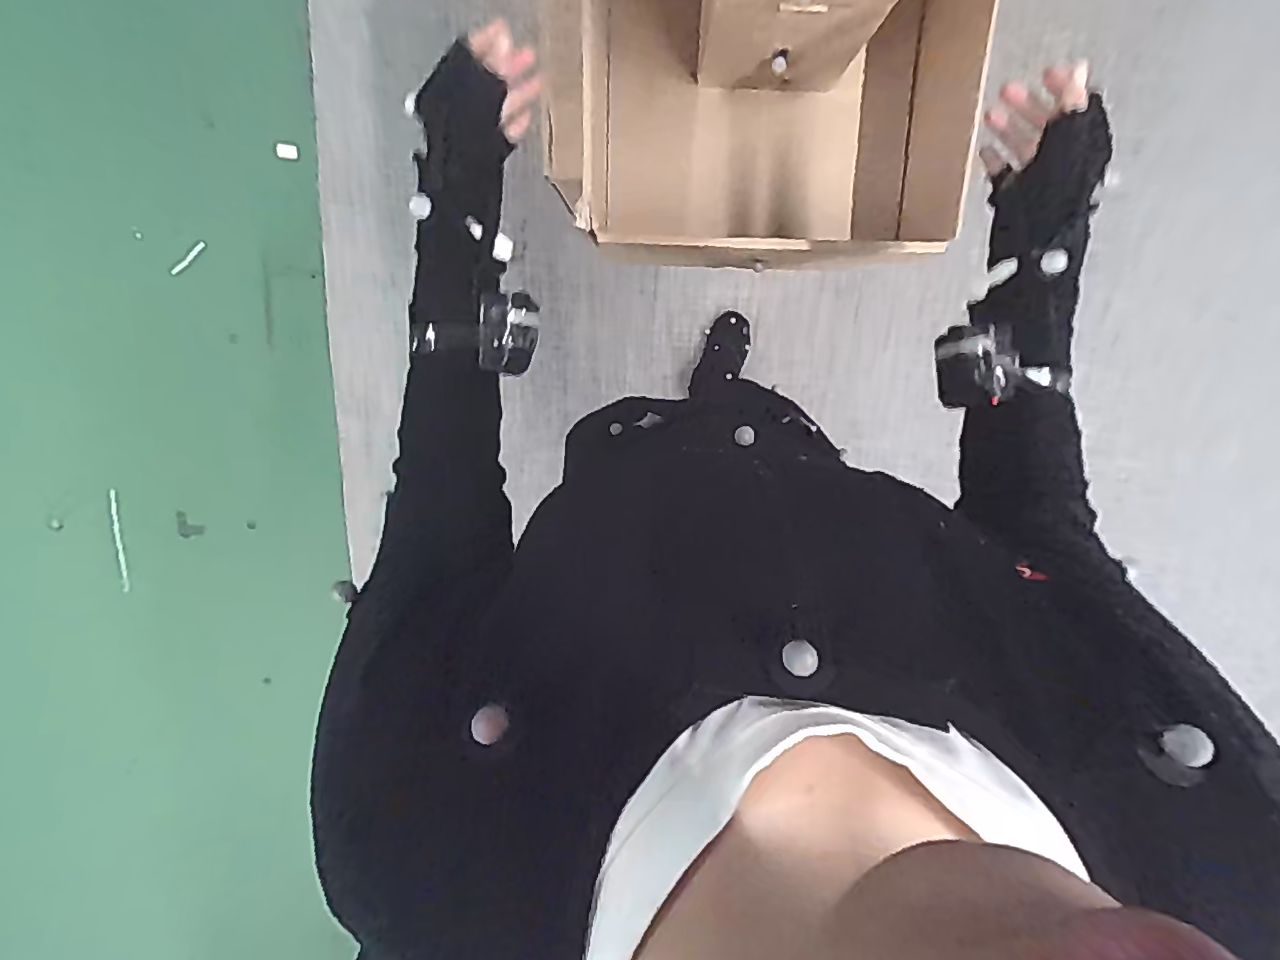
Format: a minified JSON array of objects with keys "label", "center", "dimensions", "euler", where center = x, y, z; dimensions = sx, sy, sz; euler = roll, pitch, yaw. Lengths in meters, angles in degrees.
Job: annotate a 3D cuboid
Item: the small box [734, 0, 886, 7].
[{"label":"small box","center":[0.151,-0.500,0.396],"dimensions":[0.168,0.176,0.179],"euler":[0,104,1]}]
